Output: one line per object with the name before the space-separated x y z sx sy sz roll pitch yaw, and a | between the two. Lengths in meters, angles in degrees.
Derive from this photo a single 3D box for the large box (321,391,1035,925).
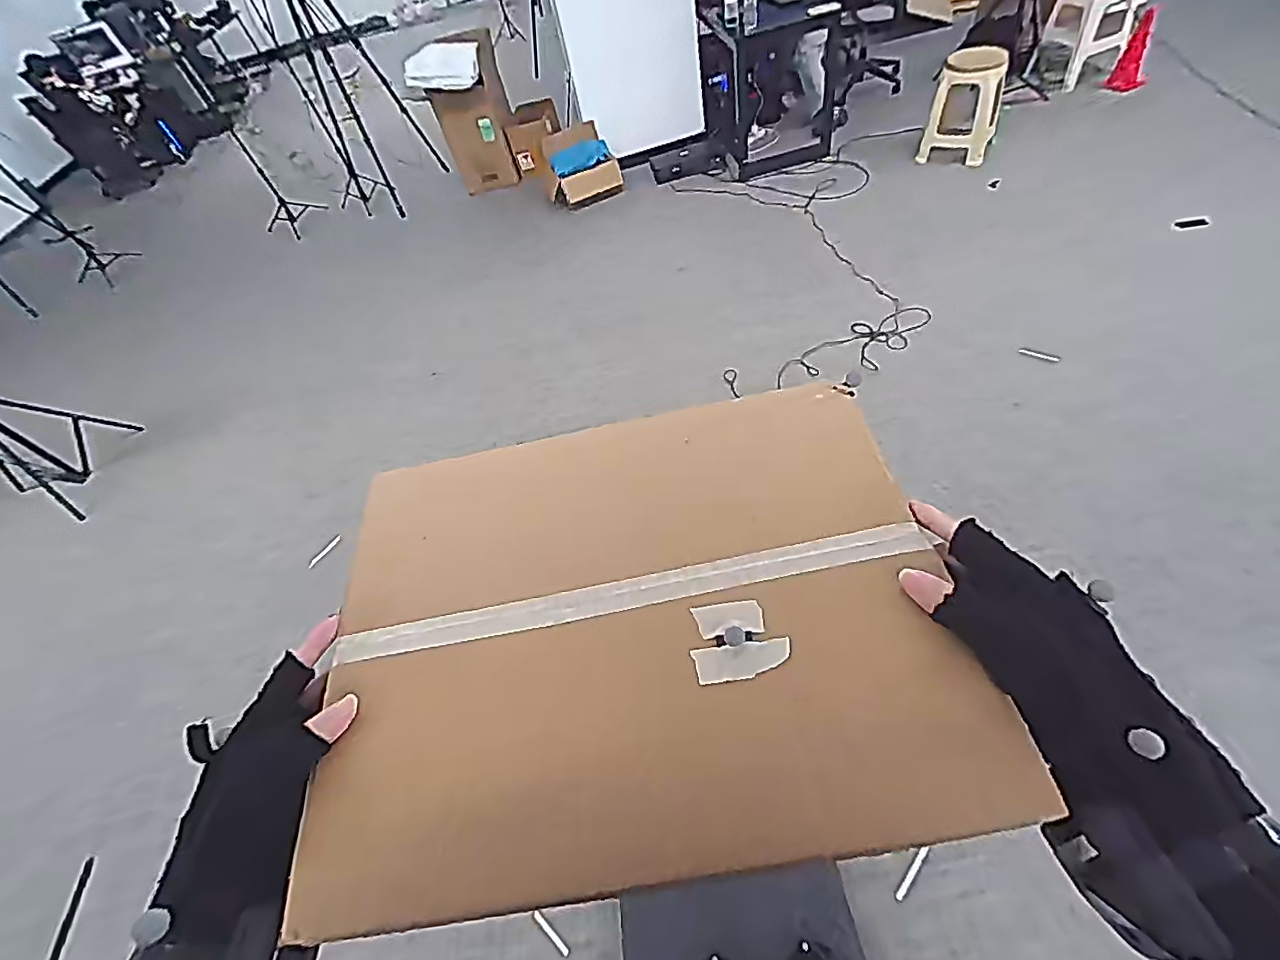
large box | 0.017 0.170 0.497 0.408 0.320 0.320 -11 54 2
